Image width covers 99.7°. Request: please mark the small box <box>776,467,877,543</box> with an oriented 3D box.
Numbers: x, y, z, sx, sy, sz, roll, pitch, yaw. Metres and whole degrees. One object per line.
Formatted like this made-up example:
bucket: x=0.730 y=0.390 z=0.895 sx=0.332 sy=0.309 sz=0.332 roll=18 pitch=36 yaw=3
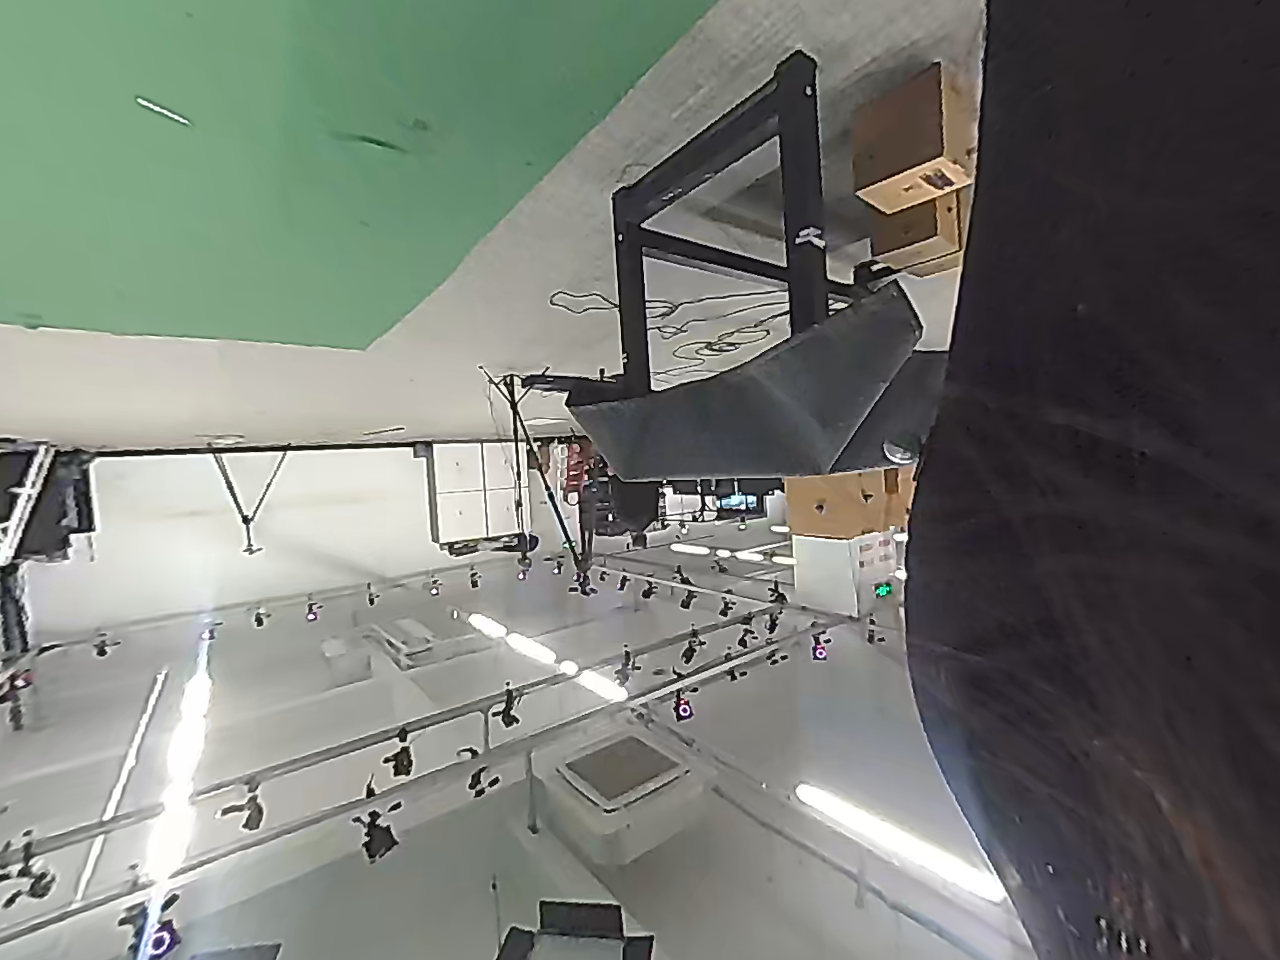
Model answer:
small box: x=0.454 y=0.055 z=1.331 sx=0.168 sy=0.176 sz=0.179 roll=-4 pitch=-179 yaw=-36
